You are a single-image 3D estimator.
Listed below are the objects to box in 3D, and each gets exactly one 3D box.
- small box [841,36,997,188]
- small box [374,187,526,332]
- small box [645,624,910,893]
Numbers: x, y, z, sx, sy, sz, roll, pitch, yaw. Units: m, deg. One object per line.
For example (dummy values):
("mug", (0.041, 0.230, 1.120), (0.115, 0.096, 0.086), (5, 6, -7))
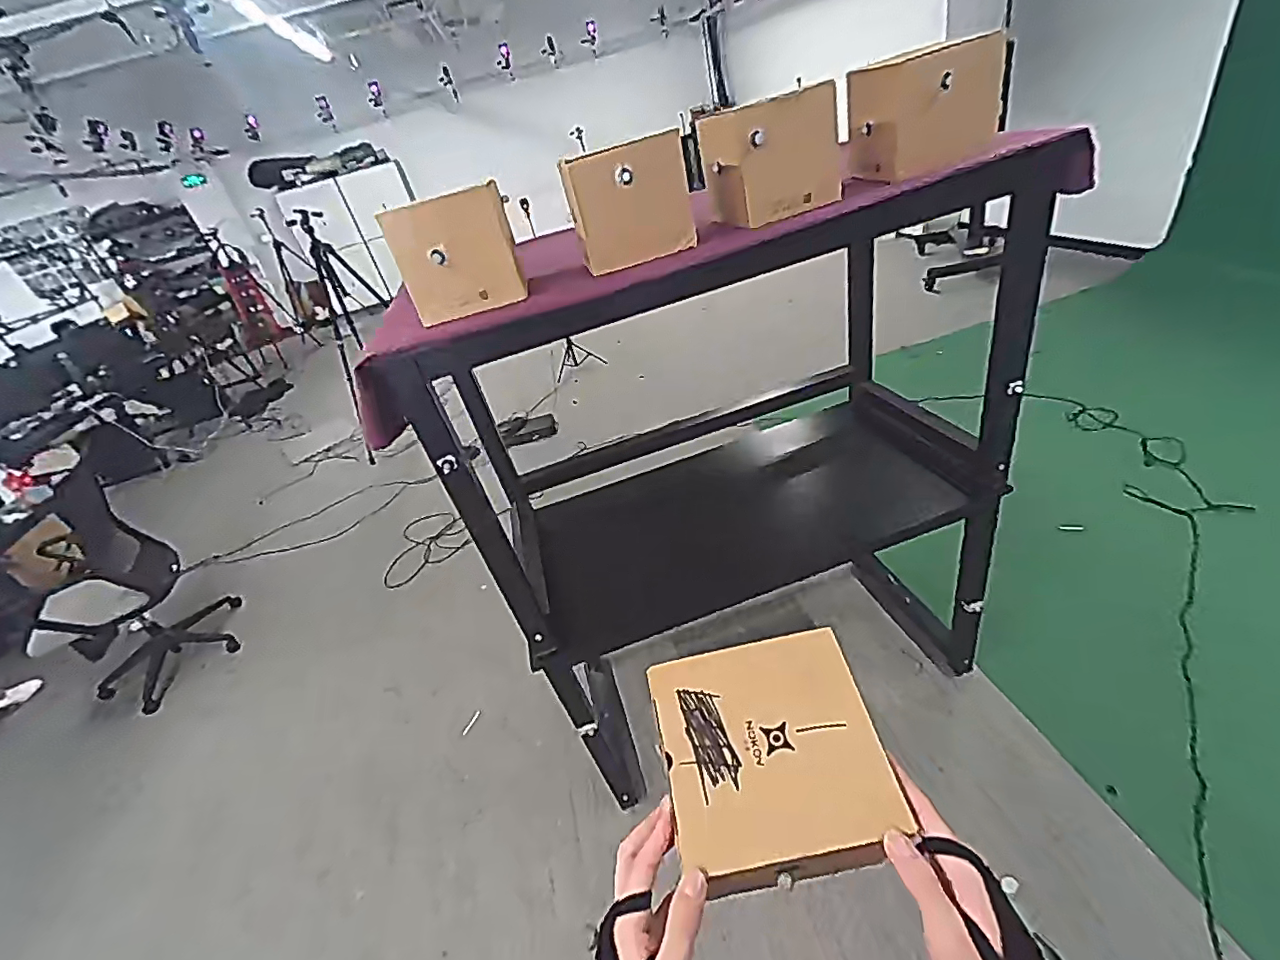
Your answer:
("small box", (0.466, -0.614, 0.921), (0.179, 0.176, 0.168), (-18, 34, 0))
("small box", (-0.288, -0.350, 0.865), (0.168, 0.176, 0.179), (-17, 31, -1))
("small box", (0.114, 0.262, 0.501), (0.179, 0.176, 0.168), (-13, 48, 1))
